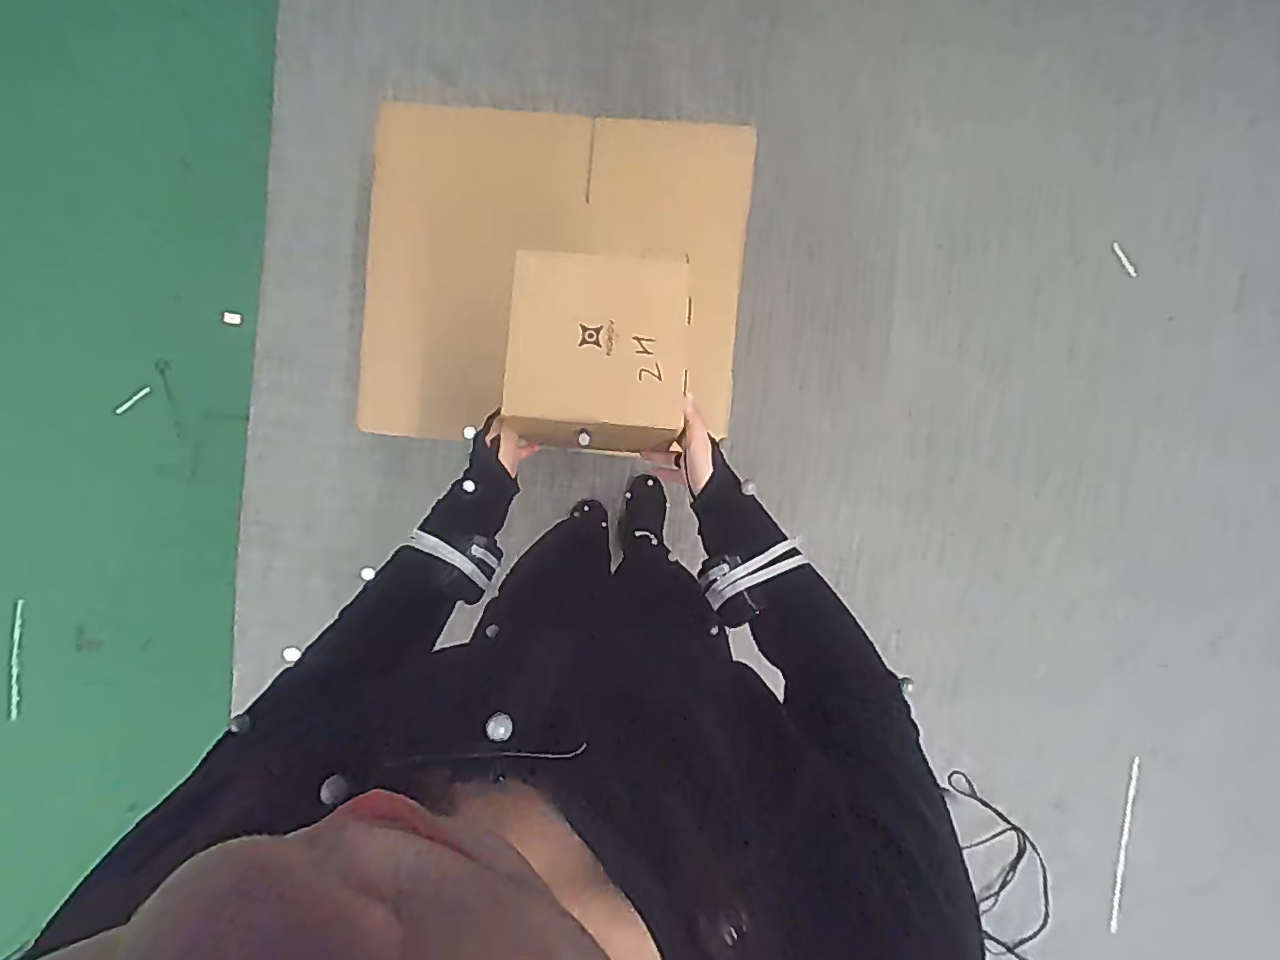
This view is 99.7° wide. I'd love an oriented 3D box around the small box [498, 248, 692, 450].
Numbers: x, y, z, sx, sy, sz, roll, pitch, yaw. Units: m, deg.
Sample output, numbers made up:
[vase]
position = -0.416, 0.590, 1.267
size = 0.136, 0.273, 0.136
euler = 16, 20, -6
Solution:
[small box]
position = -0.045, -0.131, 0.600
size = 0.179, 0.176, 0.168
euler = 5, 84, -2
